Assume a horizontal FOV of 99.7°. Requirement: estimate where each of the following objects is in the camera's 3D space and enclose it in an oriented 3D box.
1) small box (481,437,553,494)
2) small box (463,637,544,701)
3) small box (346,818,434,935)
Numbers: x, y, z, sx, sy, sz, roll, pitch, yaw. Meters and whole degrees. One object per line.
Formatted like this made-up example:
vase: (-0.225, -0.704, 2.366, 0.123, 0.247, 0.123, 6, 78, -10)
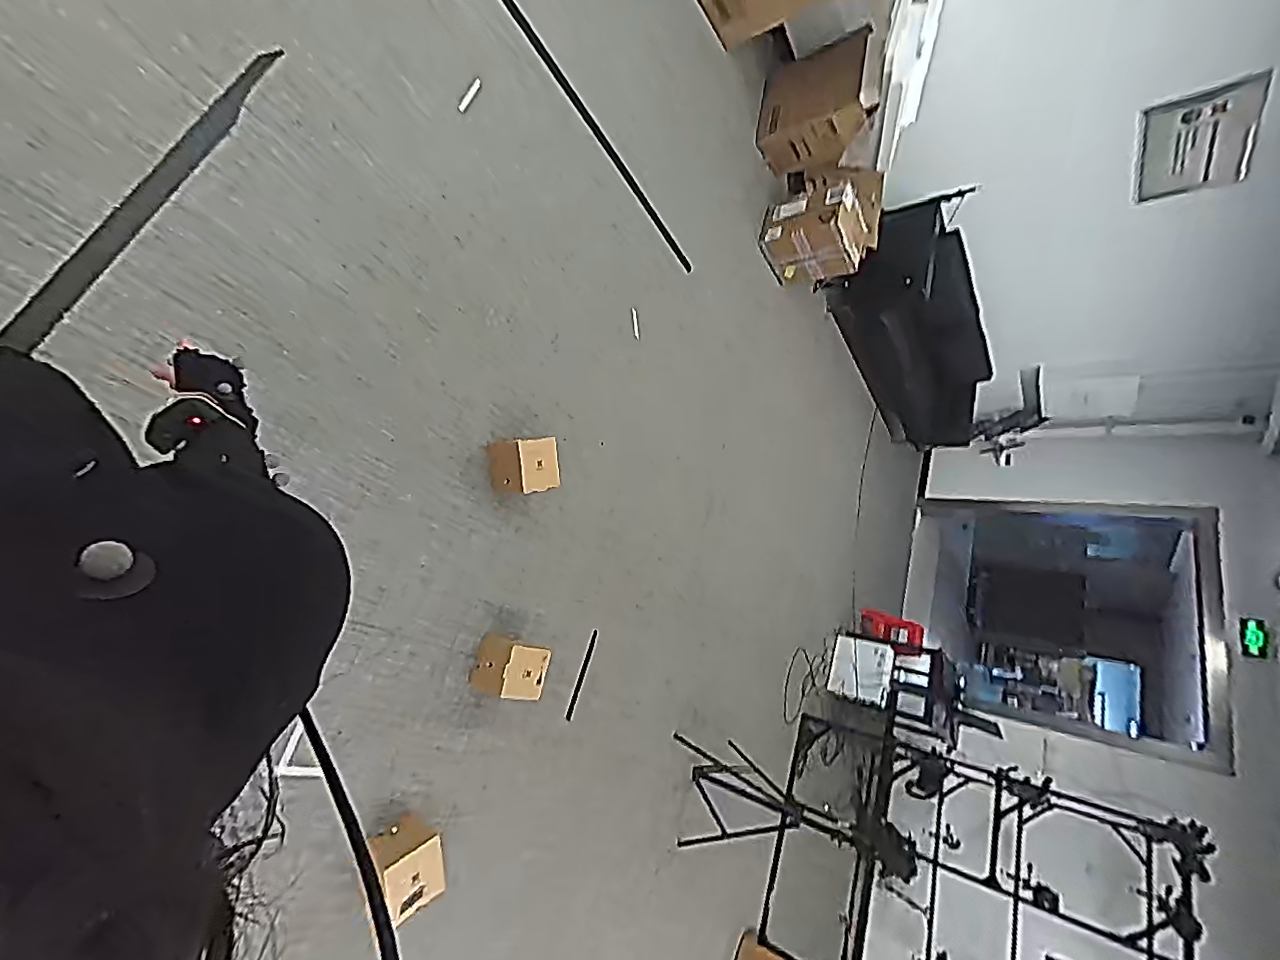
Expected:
small box: (-0.420, -0.052, 1.844, 0.168, 0.176, 0.179, -15, 102, -51)
small box: (-0.461, 0.632, 1.815, 0.179, 0.176, 0.168, 30, 68, -47)
small box: (-0.706, 1.105, 1.525, 0.168, 0.176, 0.179, -10, 98, -51)
